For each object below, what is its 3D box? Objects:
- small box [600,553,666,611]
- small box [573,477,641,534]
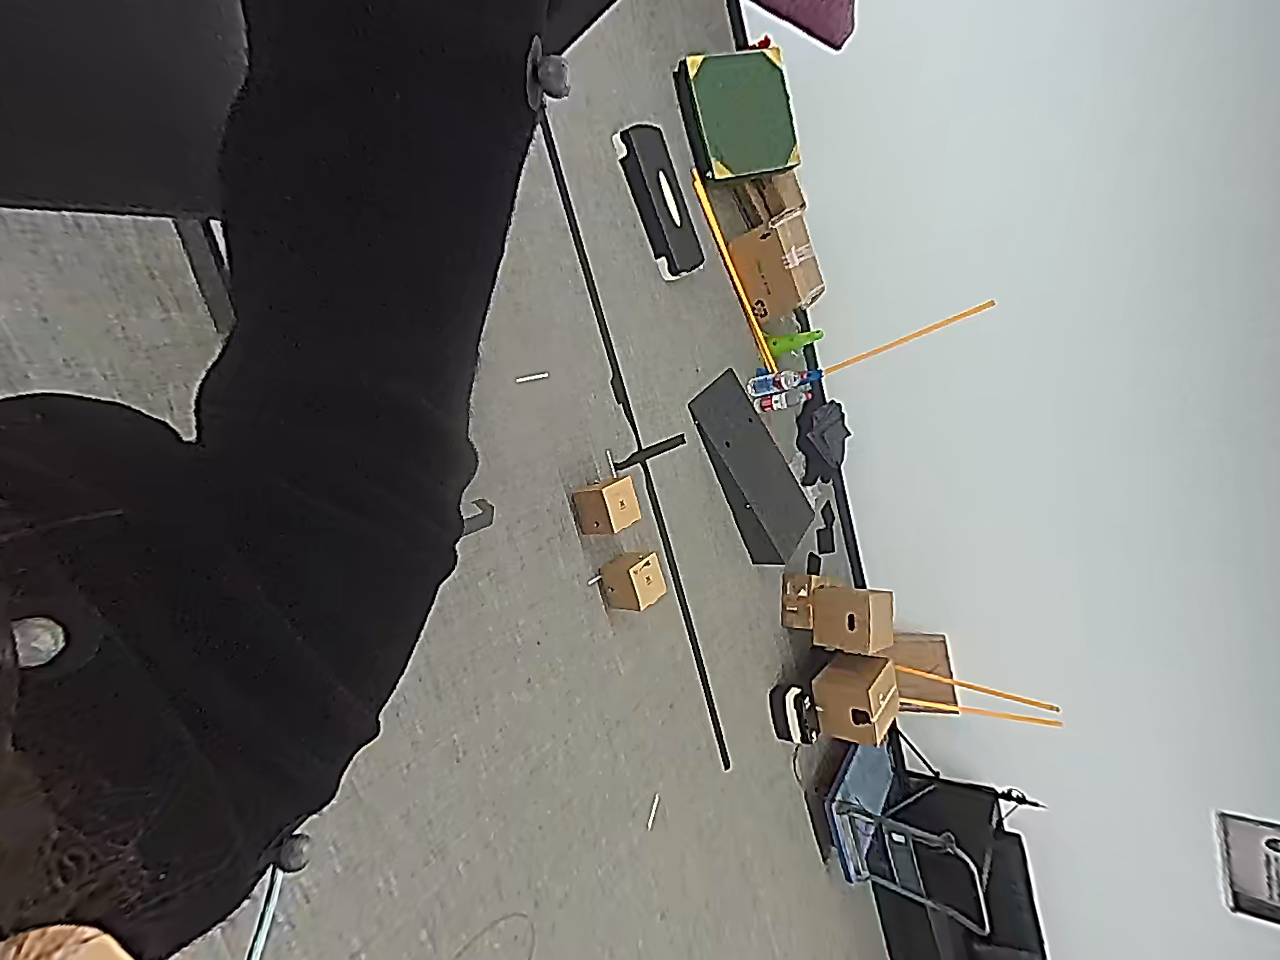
[{"bbox_3d":[-0.029,0.394,2.122,0.168,0.176,0.179,-27,106,-47],"label":"small box"},{"bbox_3d":[-0.126,0.096,2.052,0.168,0.176,0.179,-27,105,-47],"label":"small box"}]
